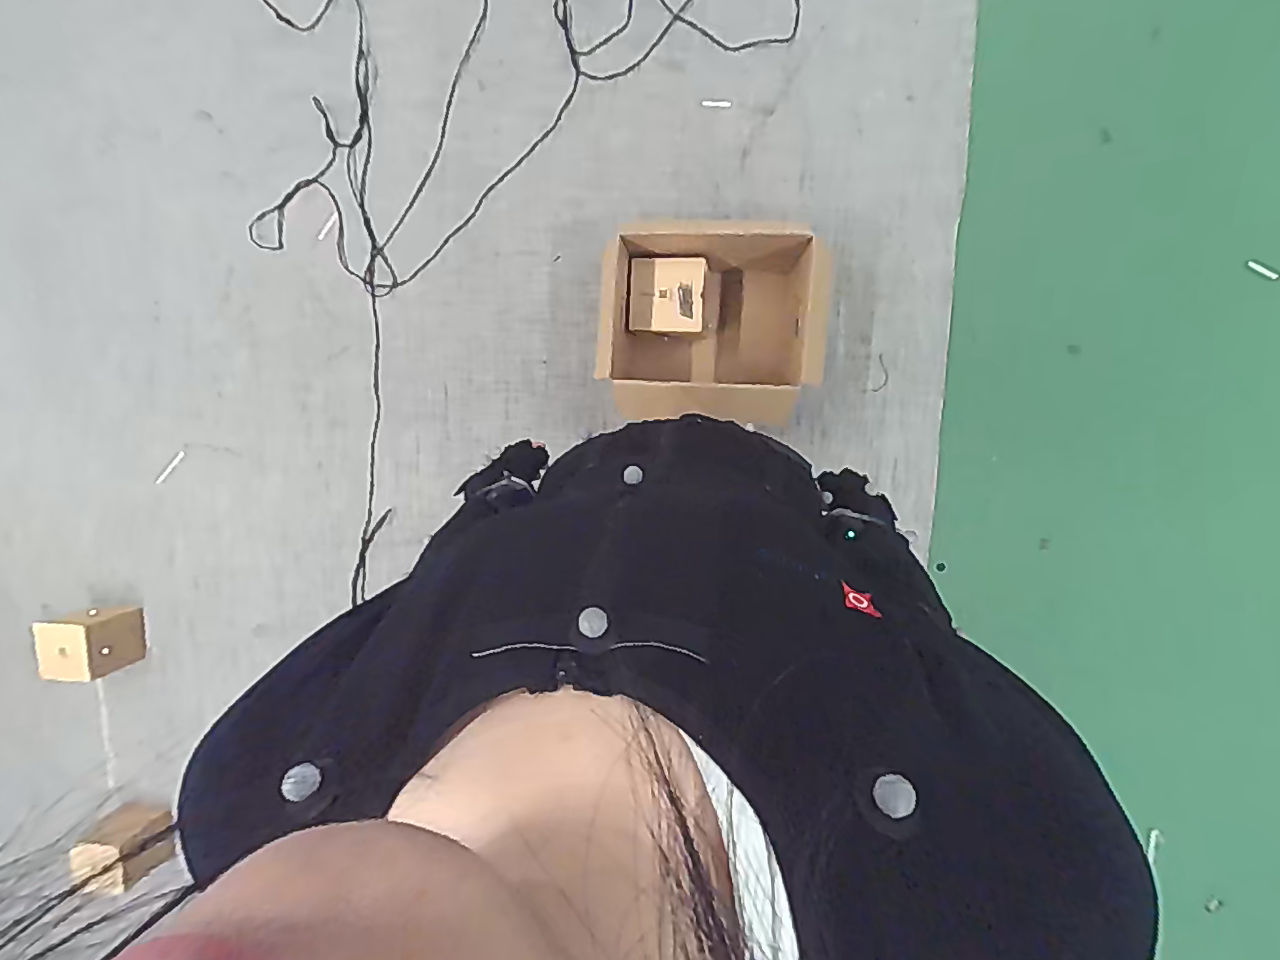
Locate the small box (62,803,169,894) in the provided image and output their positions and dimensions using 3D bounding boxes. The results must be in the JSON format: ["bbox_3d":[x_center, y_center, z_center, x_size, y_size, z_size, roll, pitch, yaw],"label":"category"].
[{"bbox_3d":[-1.653,1.159,1.712,0.179,0.176,0.168,1,98,5],"label":"small box"}]

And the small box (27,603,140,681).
[{"bbox_3d":[-1.663,0.479,1.624,0.168,0.176,0.179,1,98,5],"label":"small box"}]
